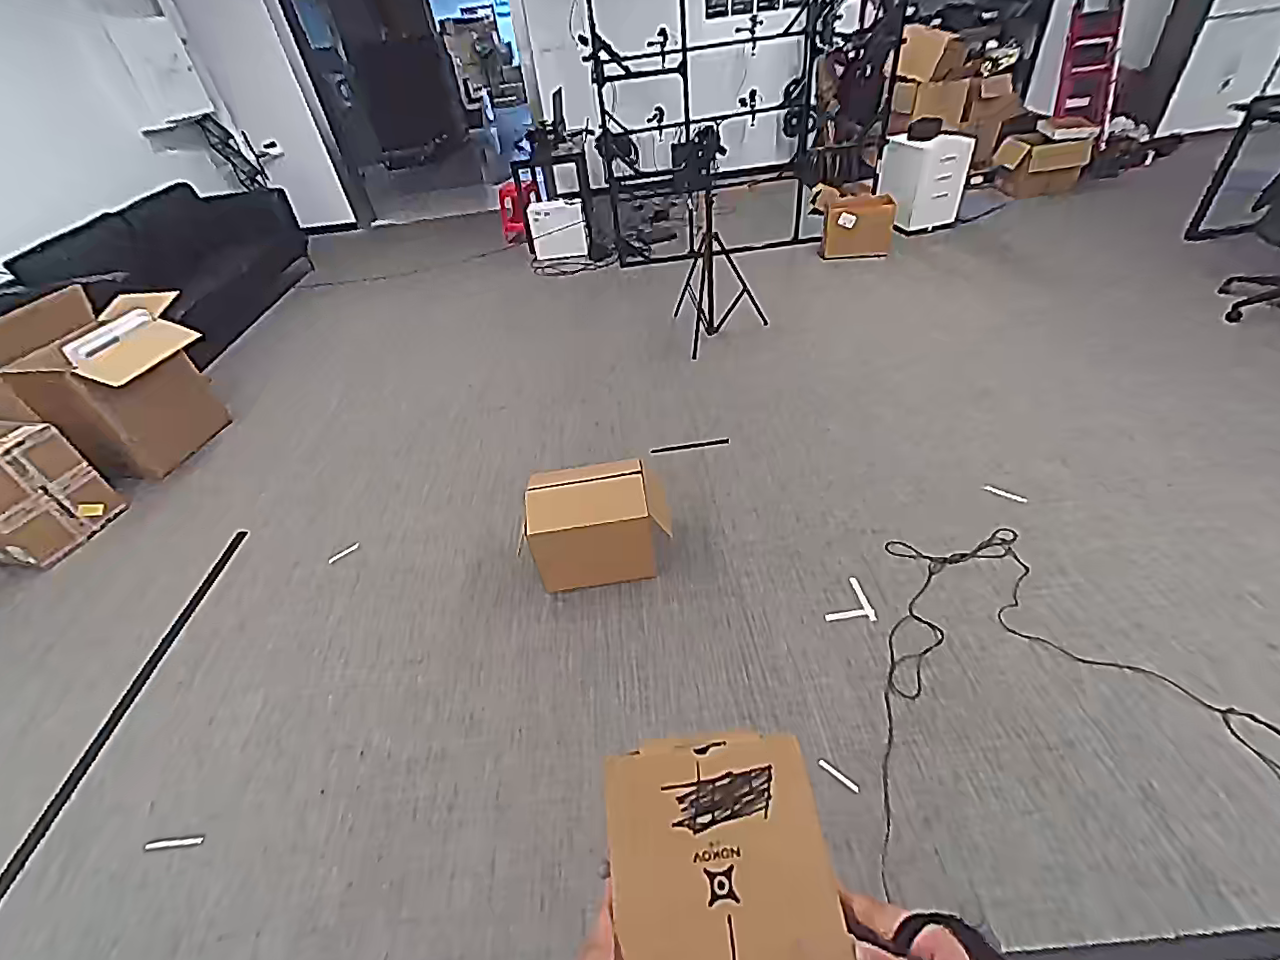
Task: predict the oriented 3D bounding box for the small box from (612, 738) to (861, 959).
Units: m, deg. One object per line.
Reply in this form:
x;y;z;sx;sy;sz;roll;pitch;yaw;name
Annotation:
0.065;0.340;0.458;0.168;0.176;0.179;-5;52;-3;small box
